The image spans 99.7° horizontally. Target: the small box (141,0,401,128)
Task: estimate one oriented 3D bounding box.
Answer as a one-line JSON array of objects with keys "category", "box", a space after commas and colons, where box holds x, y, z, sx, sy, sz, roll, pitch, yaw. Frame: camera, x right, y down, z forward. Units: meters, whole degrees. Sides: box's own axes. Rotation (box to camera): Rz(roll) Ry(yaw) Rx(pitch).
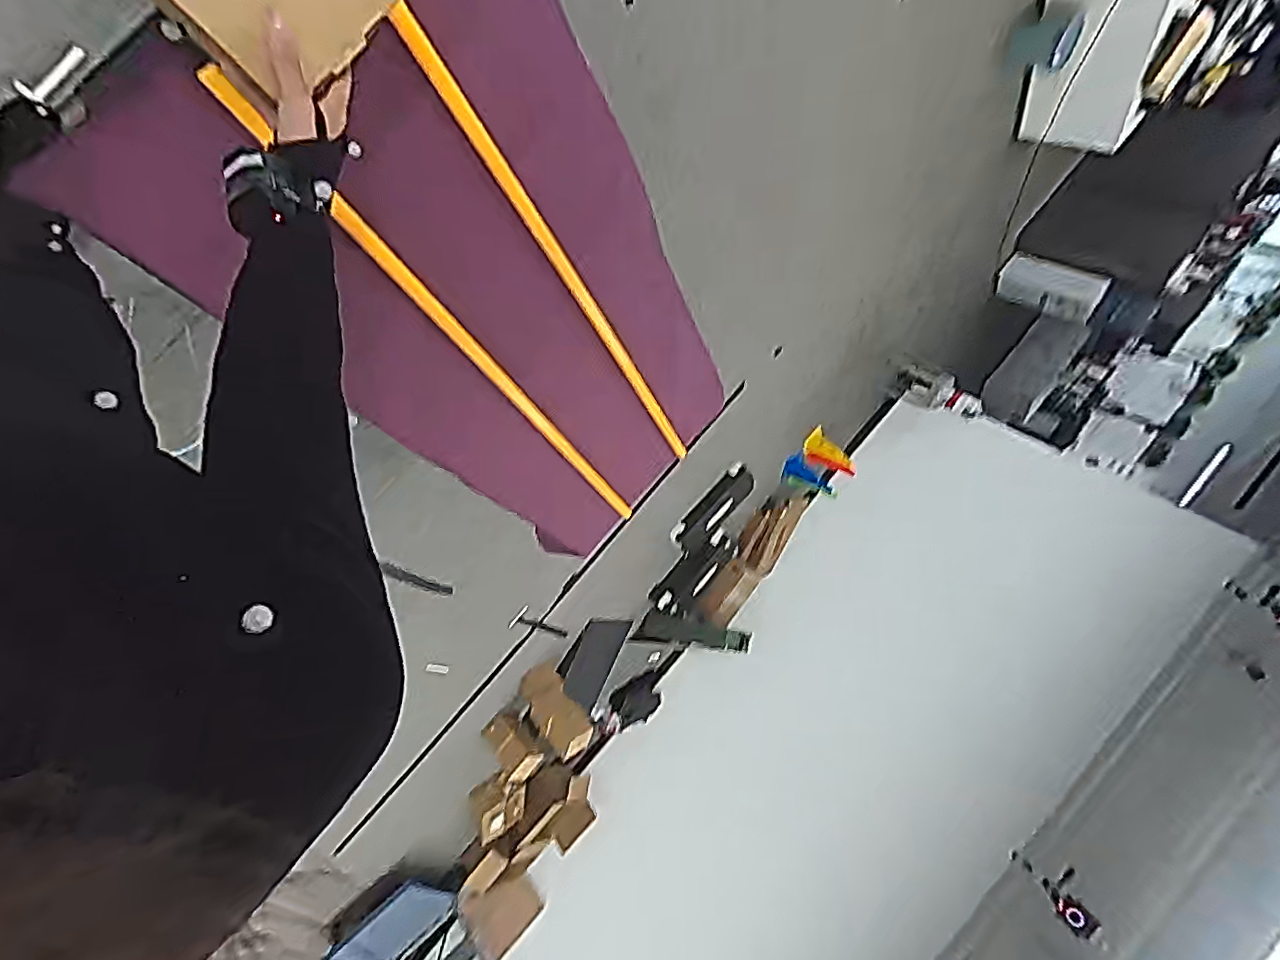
[{"category": "small box", "box": [-0.369, -0.475, 0.502, 0.168, 0.176, 0.179, -50, 143, -2]}]
